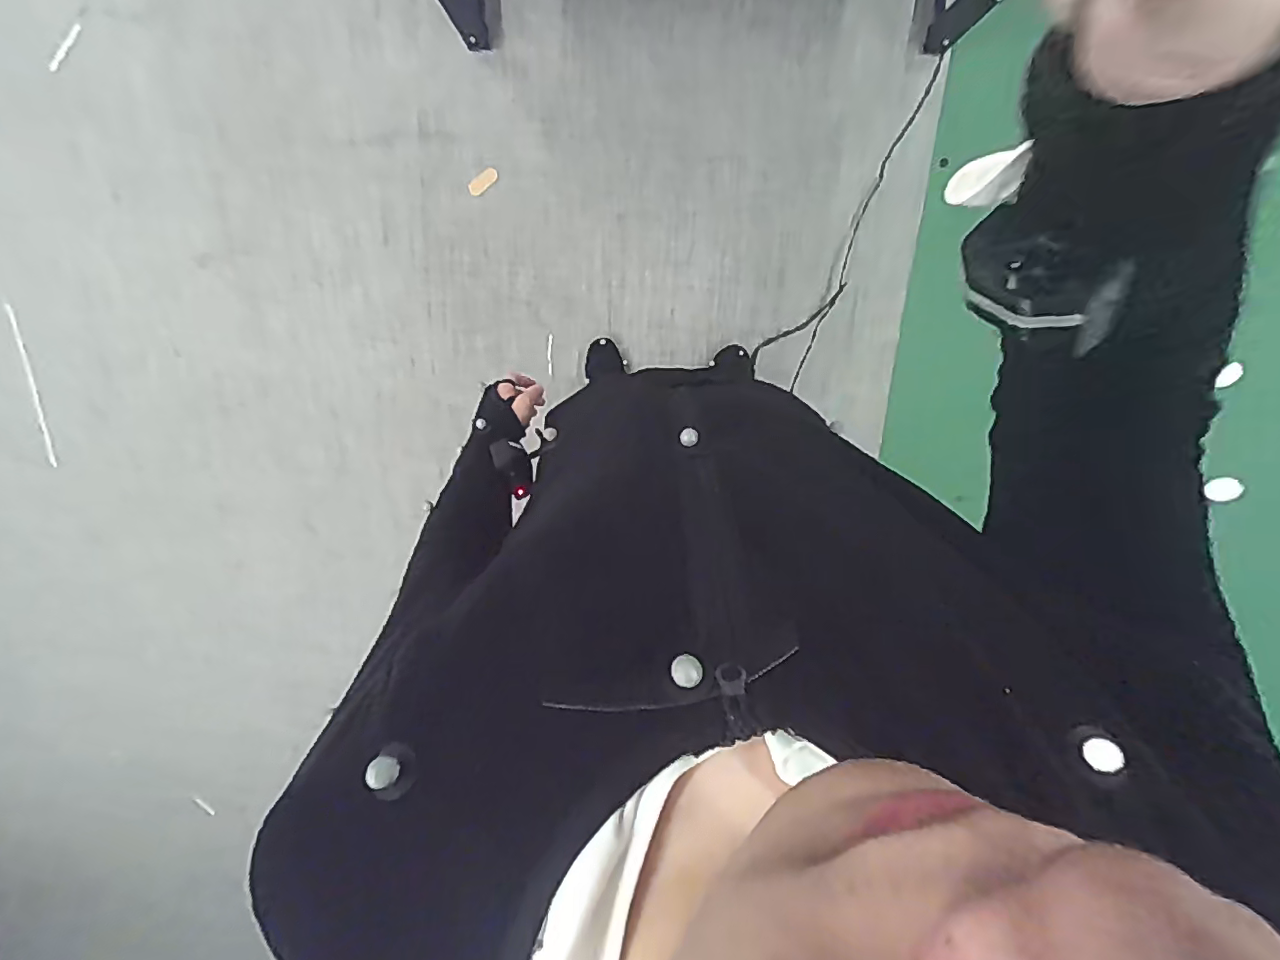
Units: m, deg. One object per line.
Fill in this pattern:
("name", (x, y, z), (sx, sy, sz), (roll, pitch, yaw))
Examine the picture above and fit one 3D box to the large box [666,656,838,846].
("large box", (0.333, 0.842, 1.714), (0.408, 0.320, 0.320), (-30, 104, 7))
